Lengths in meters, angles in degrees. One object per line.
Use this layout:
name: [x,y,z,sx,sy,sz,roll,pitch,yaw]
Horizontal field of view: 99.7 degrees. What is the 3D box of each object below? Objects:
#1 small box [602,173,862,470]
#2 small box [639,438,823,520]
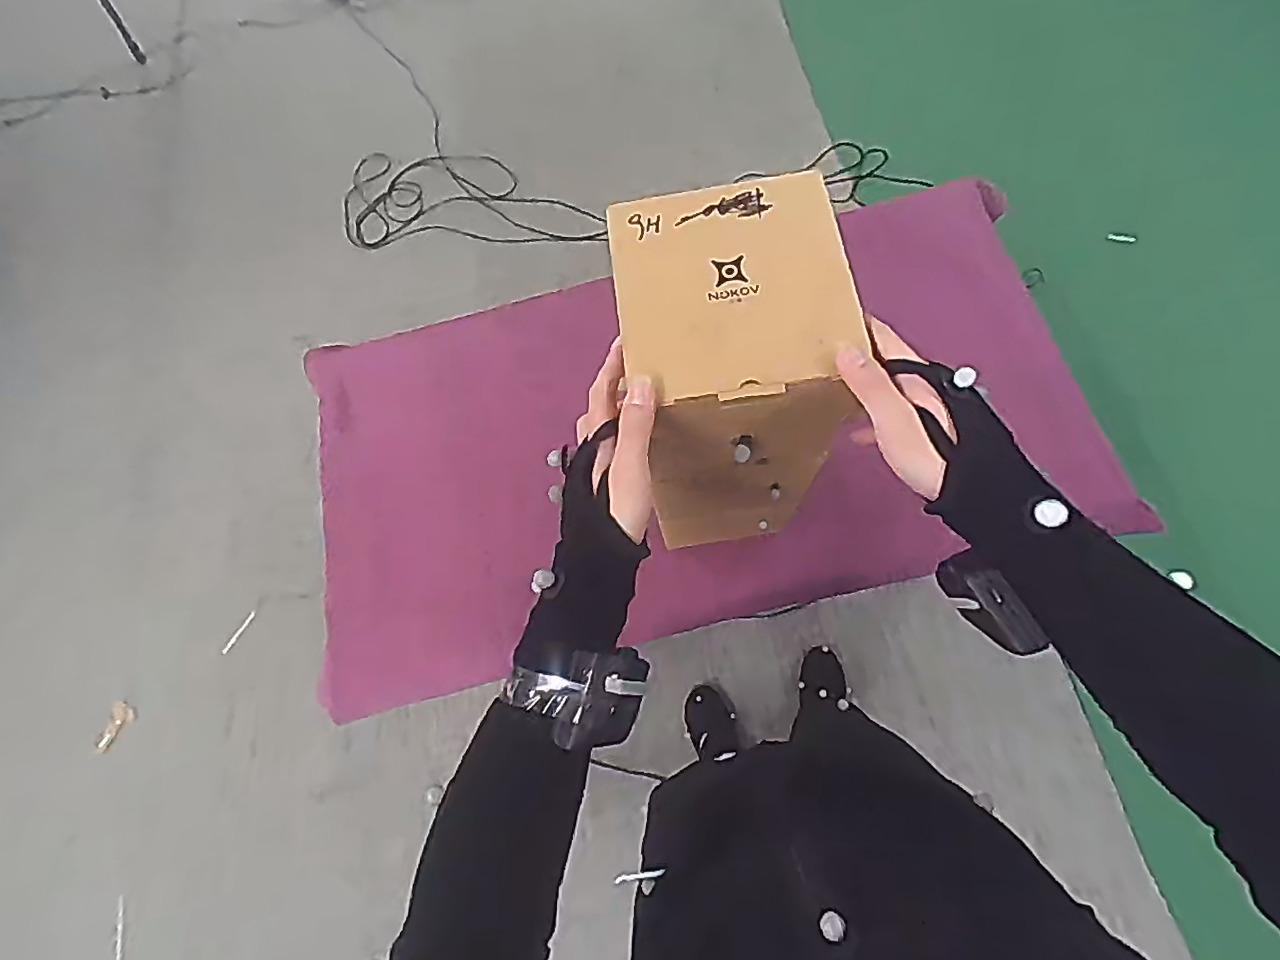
small box: [0.068,-0.115,0.462,0.168,0.176,0.179,-8,72,4]
small box: [0.087,-0.061,0.615,0.179,0.176,0.168,-10,71,4]
